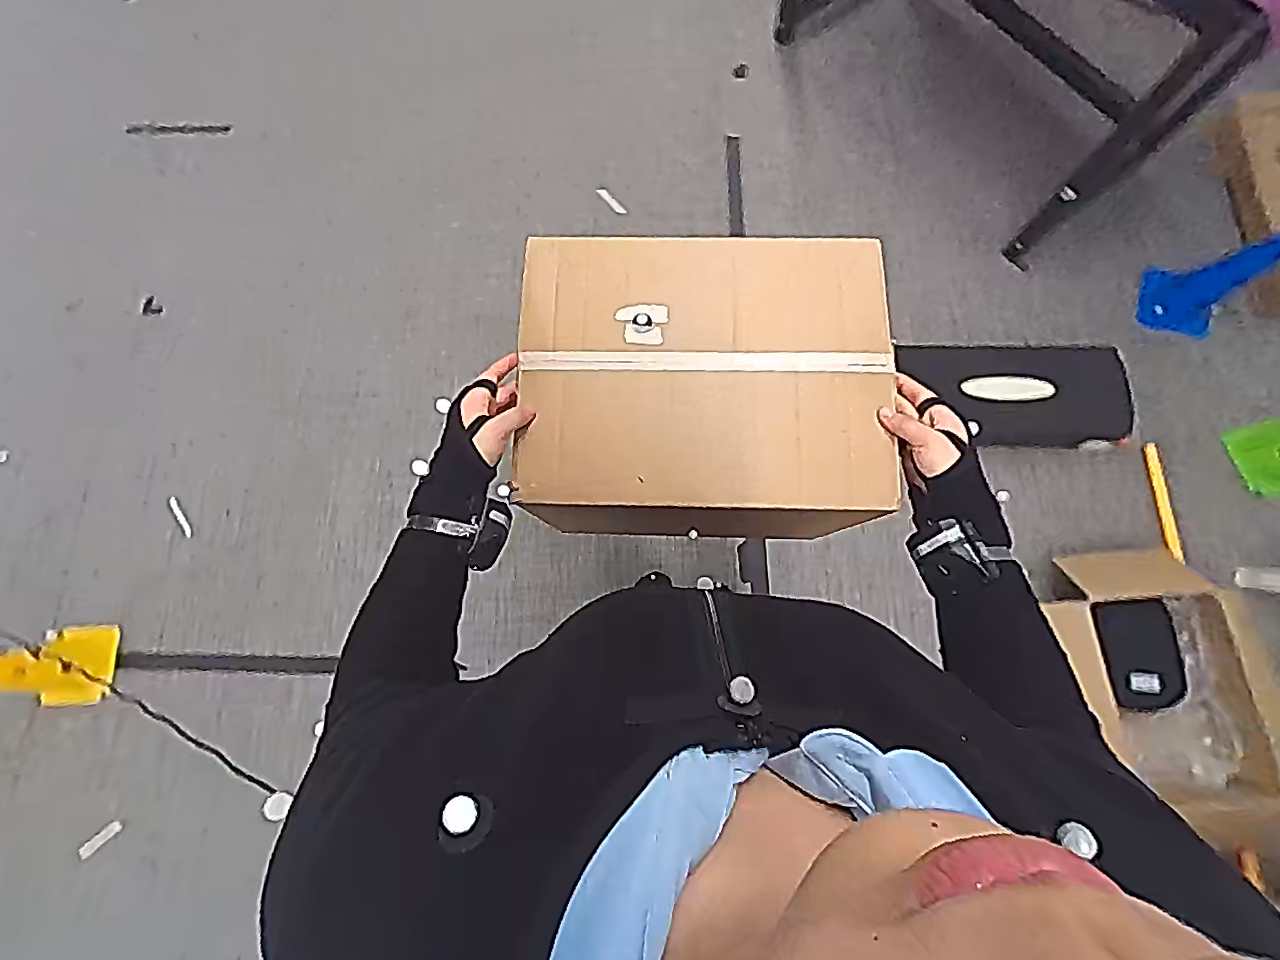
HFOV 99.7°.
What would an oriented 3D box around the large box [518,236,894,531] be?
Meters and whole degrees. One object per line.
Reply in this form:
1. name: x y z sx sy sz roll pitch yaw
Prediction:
1. large box: 0.072 -0.098 0.744 0.408 0.320 0.320 -1 77 2
